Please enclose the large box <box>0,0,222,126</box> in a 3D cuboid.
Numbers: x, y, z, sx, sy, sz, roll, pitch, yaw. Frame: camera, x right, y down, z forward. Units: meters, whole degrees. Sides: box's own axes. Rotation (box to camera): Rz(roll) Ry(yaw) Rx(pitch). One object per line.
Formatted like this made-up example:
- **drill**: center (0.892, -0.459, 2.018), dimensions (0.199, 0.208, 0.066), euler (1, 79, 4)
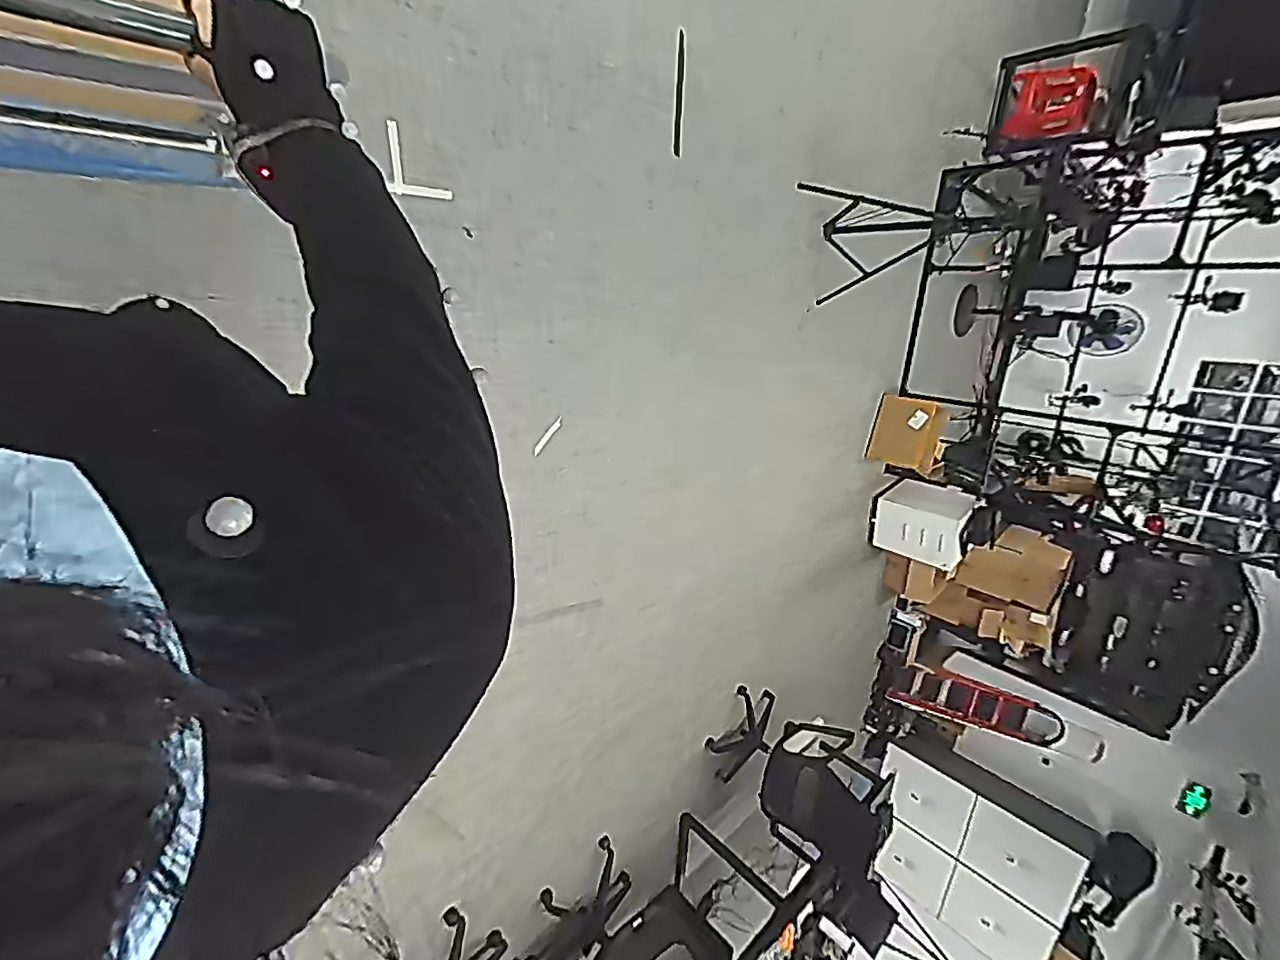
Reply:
- **large box**: center (-0.808, -0.665, 0.645), dimensions (0.408, 0.320, 0.320), euler (-18, 117, -42)
